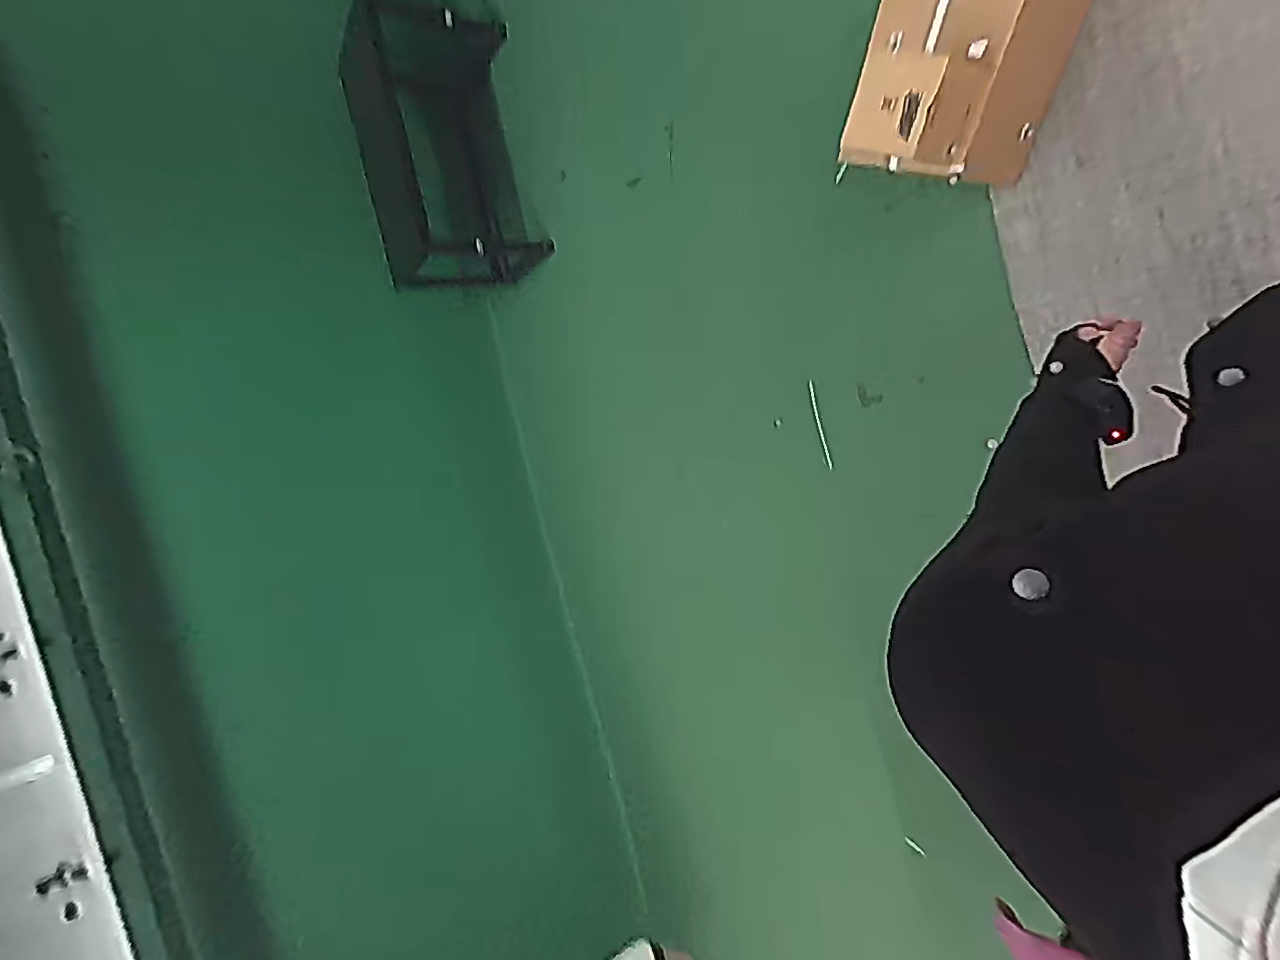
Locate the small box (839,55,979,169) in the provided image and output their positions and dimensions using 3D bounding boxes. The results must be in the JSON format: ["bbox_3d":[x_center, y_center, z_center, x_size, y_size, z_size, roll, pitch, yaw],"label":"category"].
[{"bbox_3d":[0.556,-0.754,1.117,0.179,0.176,0.168,40,132,37],"label":"small box"}]
